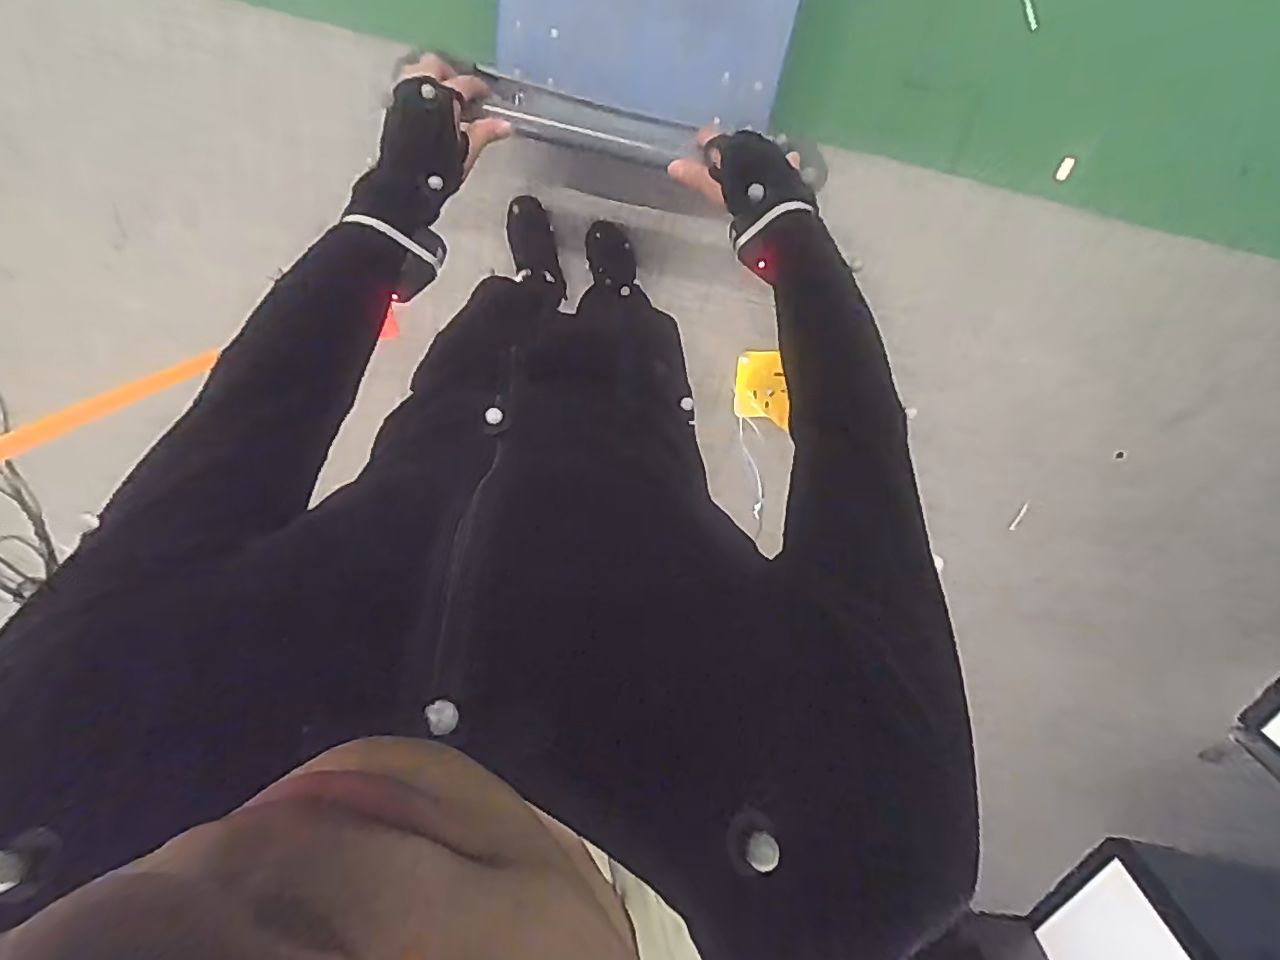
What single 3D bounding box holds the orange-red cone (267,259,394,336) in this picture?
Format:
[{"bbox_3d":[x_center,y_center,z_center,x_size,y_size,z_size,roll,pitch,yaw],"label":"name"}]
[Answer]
[{"bbox_3d":[-0.785,-0.412,1.319,0.199,0.360,0.198,-2,118,3],"label":"orange-red cone"}]
